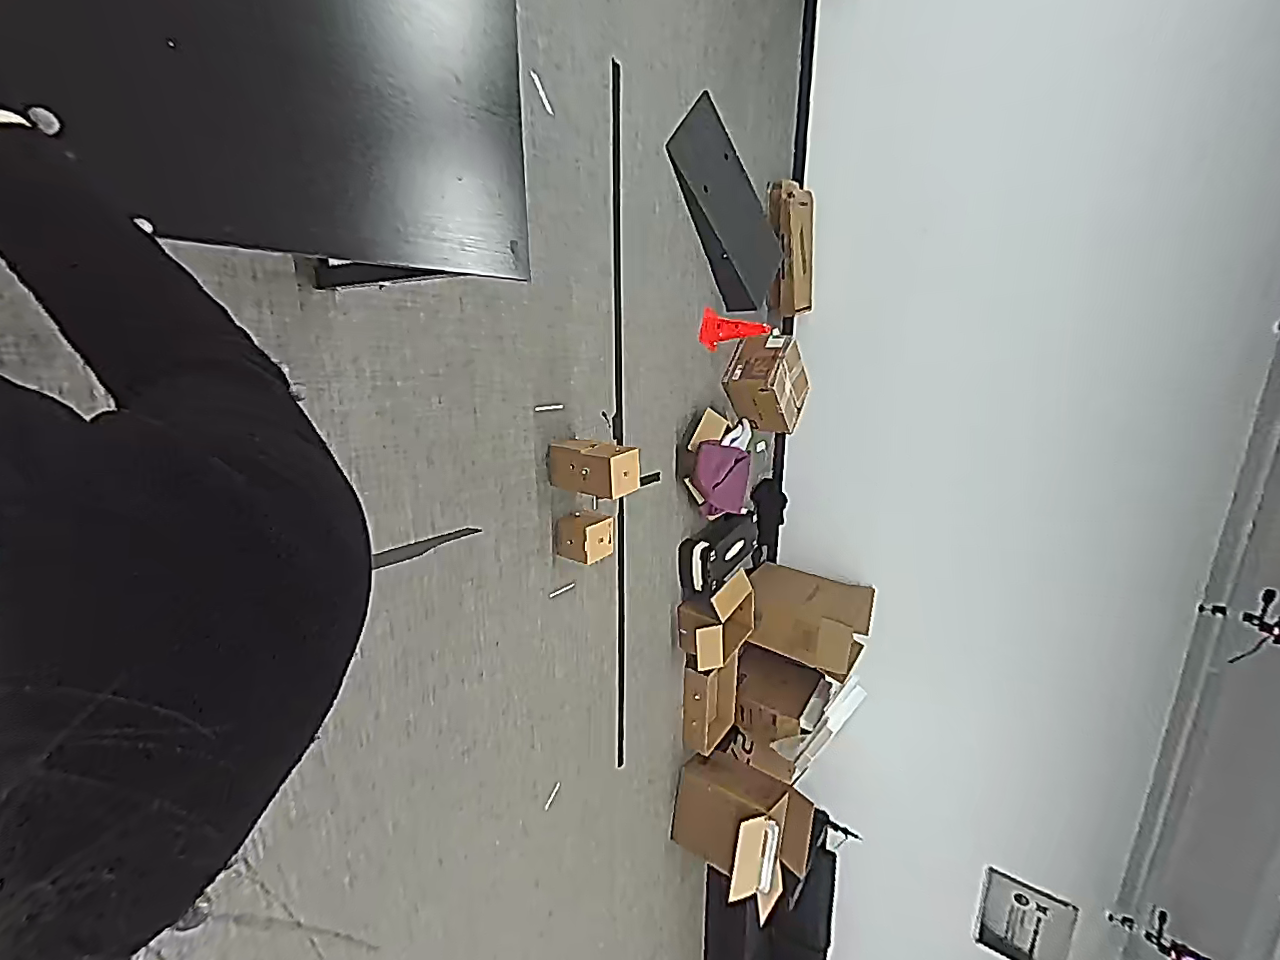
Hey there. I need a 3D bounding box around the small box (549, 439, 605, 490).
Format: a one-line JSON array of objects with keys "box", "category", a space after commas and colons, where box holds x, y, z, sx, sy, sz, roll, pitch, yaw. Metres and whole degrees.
[{"box": [-0.255, -0.069, 2.184, 0.168, 0.176, 0.179, -20, 116, -51], "category": "small box"}]

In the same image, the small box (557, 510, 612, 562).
[{"box": [-0.239, 0.233, 2.292, 0.179, 0.176, 0.168, -18, 113, -51], "category": "small box"}]

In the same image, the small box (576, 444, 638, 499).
[{"box": [-0.125, -0.040, 2.090, 0.179, 0.176, 0.168, -23, 115, -49], "category": "small box"}]
